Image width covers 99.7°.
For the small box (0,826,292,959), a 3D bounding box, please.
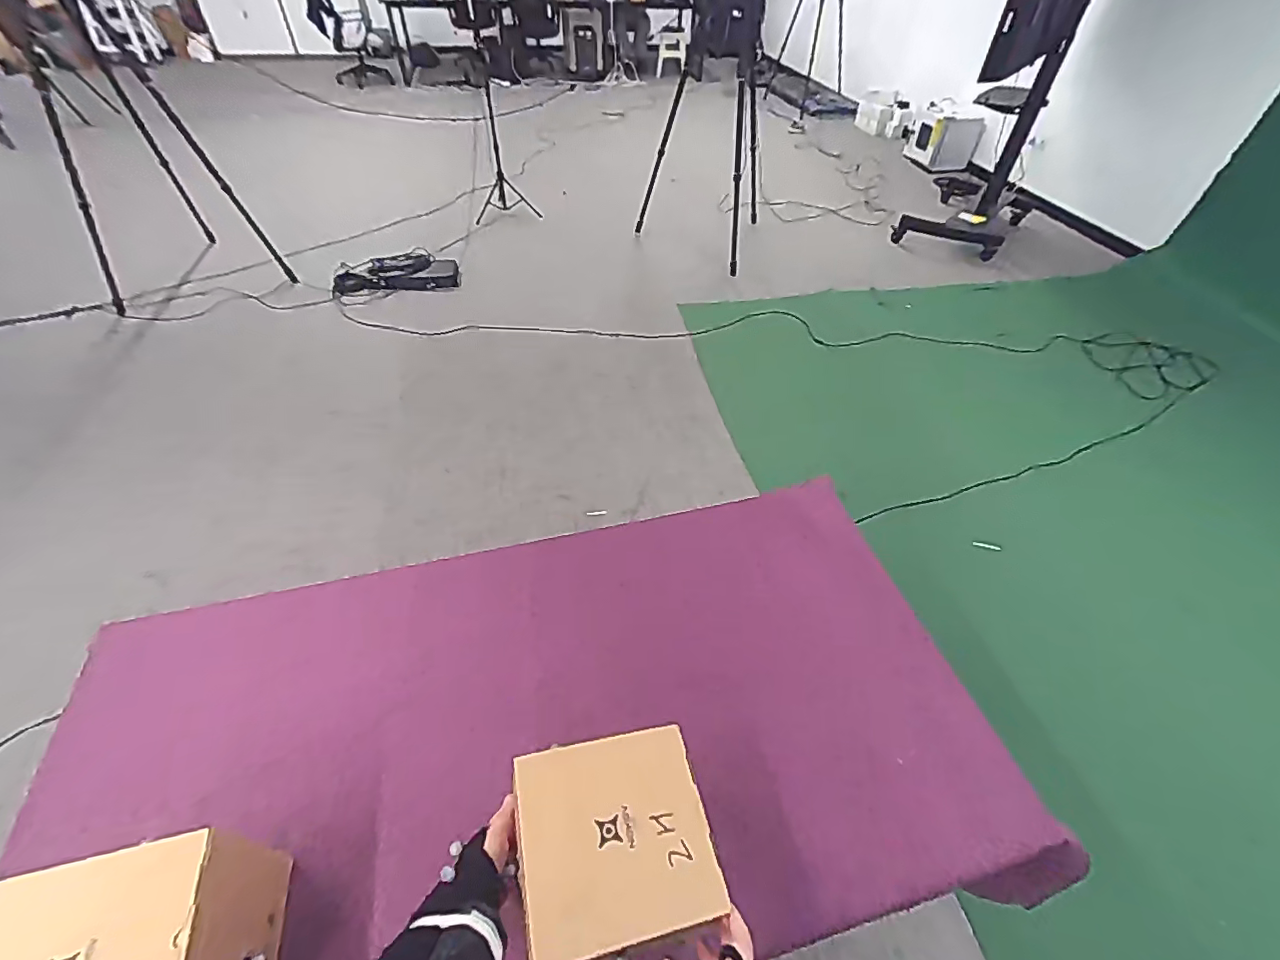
[{"bbox_3d":[-0.461,0.451,0.496,0.179,0.176,0.168,-9,47,-12],"label":"small box"}]
